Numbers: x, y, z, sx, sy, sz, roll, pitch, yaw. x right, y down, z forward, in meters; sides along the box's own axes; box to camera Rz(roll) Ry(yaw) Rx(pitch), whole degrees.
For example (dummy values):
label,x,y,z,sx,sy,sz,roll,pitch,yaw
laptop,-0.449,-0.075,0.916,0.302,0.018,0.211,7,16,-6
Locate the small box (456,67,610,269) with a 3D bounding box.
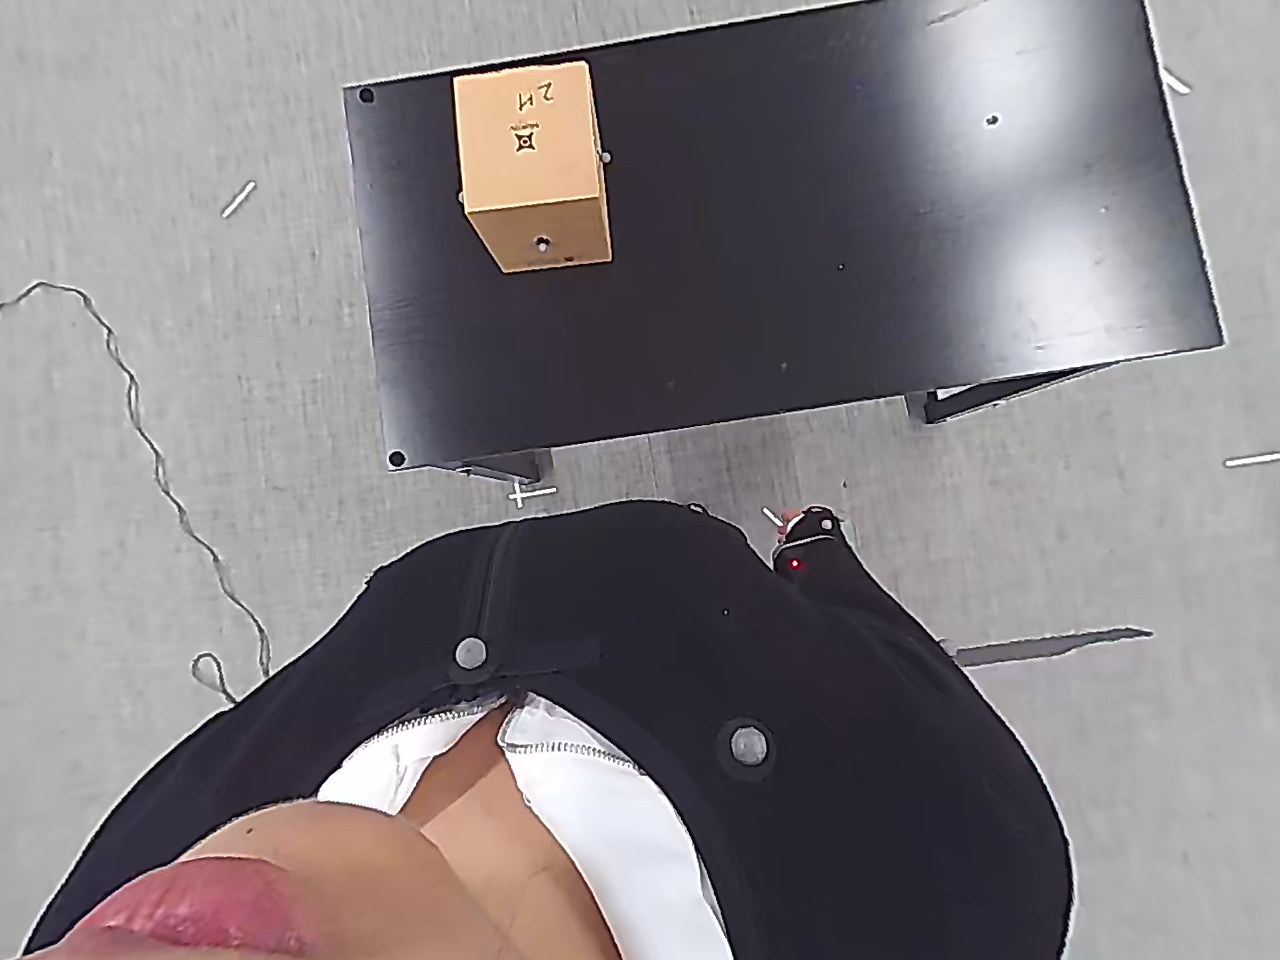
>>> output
label,x,y,z,sx,sy,sz,roll,pitch,yaw
small box,-0.135,-0.405,0.736,0.168,0.176,0.179,-6,85,2
